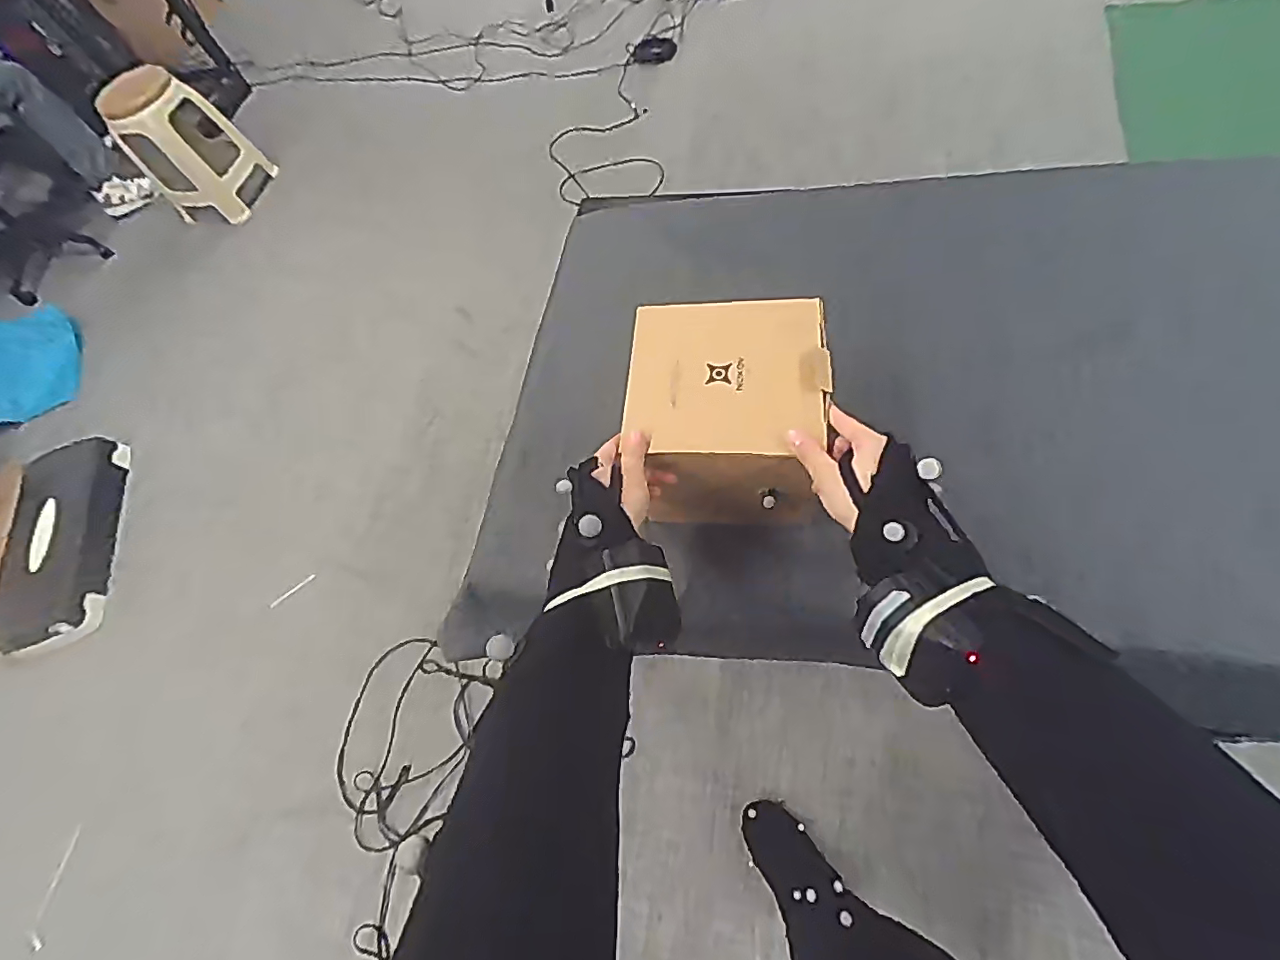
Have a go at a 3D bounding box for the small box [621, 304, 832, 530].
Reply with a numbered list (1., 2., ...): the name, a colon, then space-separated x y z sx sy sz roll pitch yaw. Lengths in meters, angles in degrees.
1. small box: 0.090 -0.055 0.551 0.179 0.176 0.168 0 64 13
